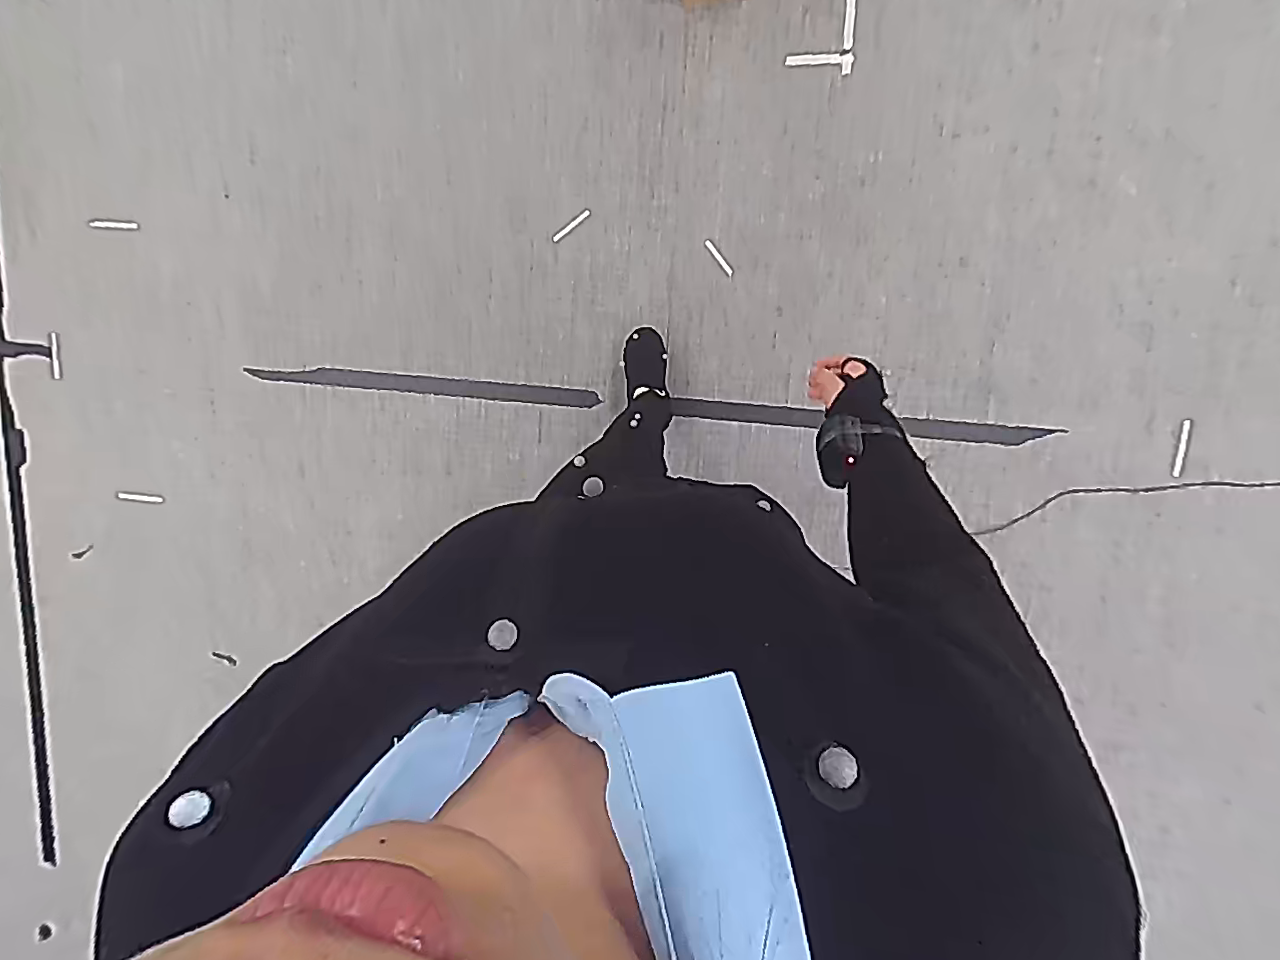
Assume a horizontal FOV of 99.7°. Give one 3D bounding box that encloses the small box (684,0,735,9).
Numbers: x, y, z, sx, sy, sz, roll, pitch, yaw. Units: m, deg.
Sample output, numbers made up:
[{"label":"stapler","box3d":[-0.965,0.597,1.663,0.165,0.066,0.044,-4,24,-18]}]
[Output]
[{"label":"small box","box3d":[0.168,-1.236,1.227,0.168,0.176,0.179,-7,96,8]}]
